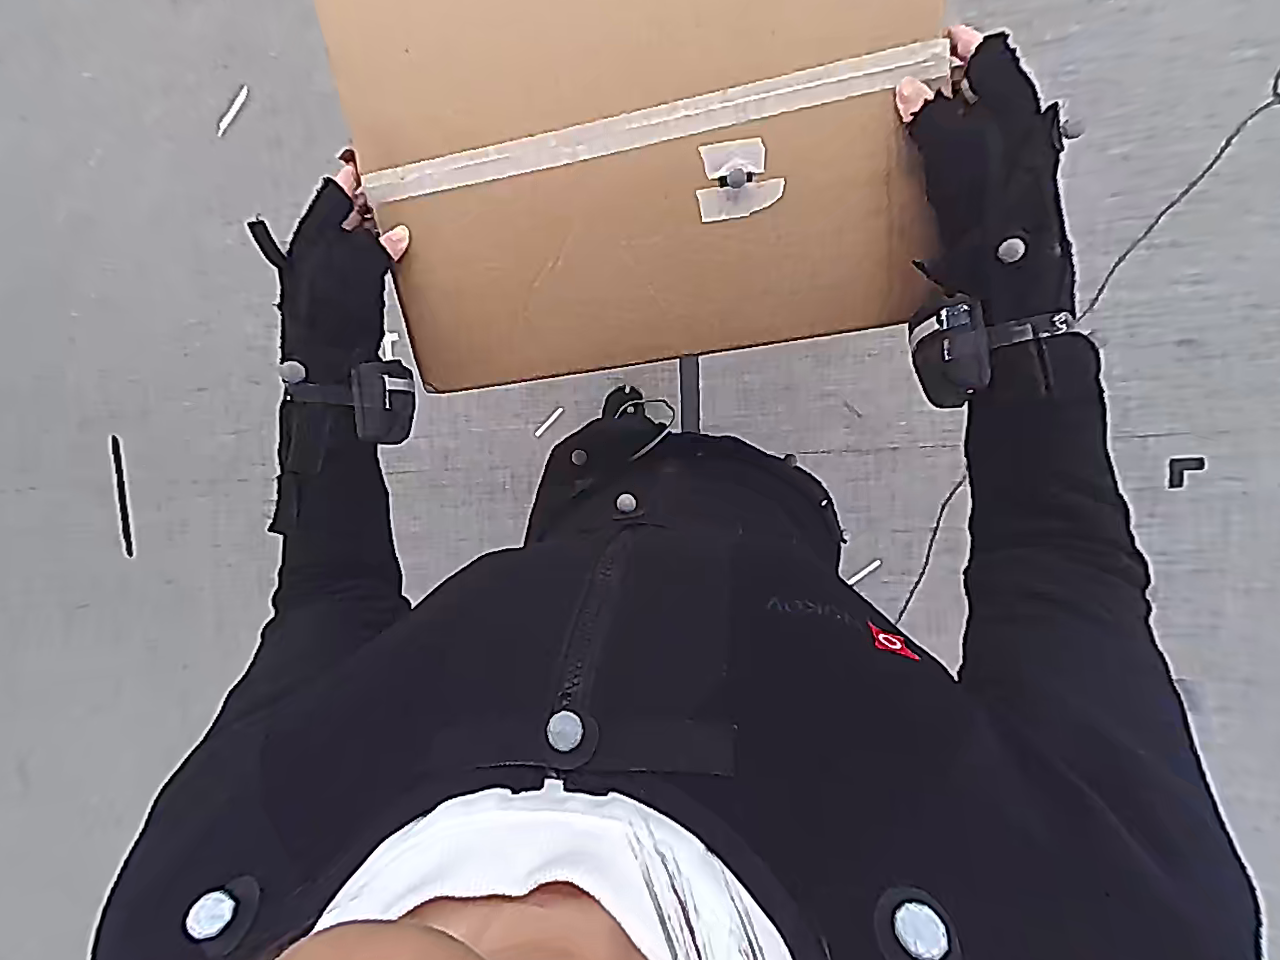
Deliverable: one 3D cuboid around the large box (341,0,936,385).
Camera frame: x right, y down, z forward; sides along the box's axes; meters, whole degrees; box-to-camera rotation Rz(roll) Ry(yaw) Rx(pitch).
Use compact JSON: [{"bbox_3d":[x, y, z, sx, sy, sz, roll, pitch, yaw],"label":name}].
[{"bbox_3d":[0.015,-0.293,0.531,0.408,0.320,0.320,-7,107,9],"label":"large box"}]
